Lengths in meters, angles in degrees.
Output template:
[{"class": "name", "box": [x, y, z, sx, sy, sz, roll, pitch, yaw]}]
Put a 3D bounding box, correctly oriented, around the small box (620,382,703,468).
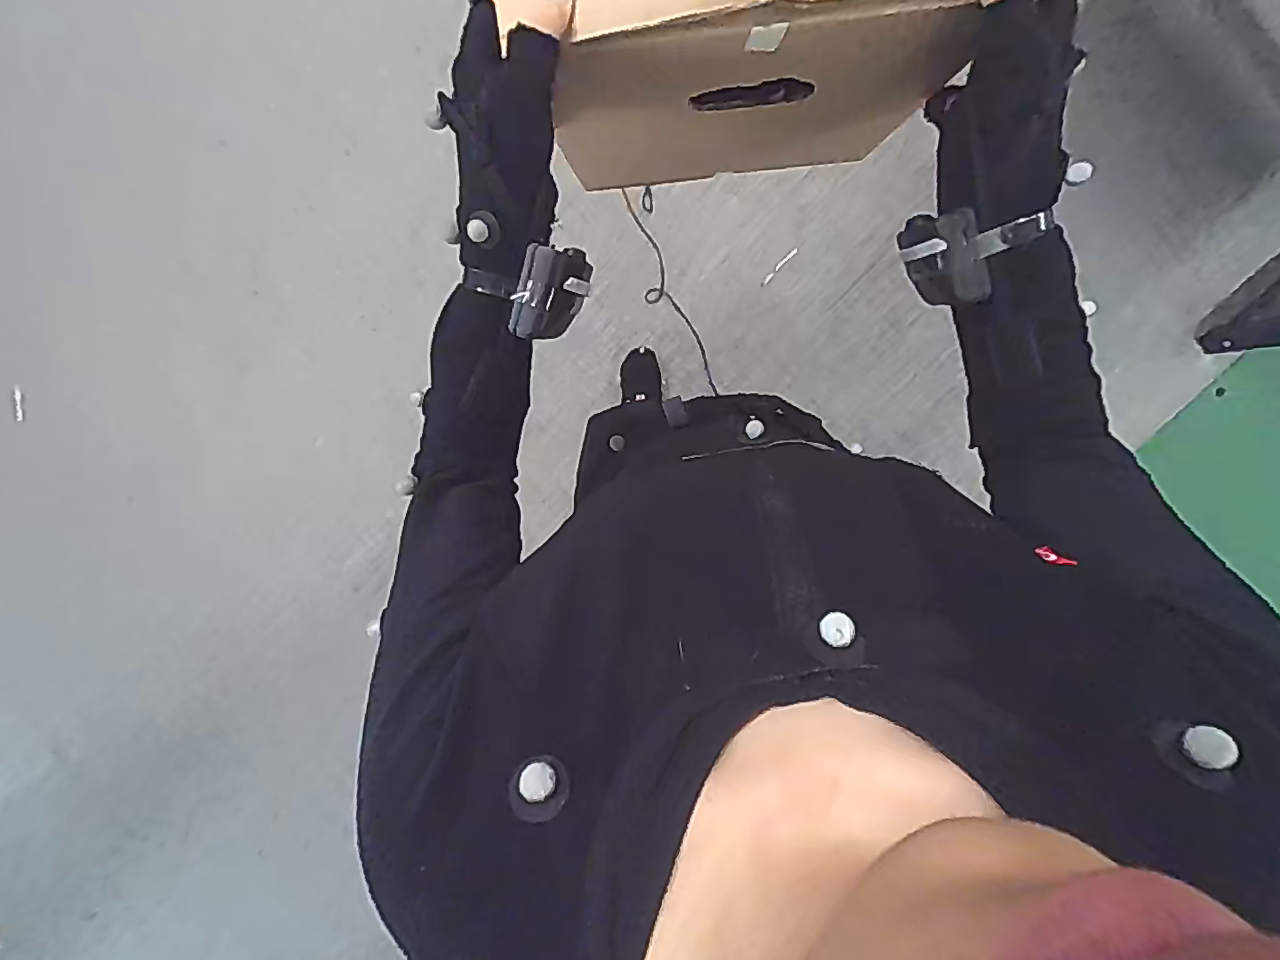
[{"class": "small box", "box": [0.048, -0.147, 1.393, 0.168, 0.176, 0.179, 11, 102, -10]}]
